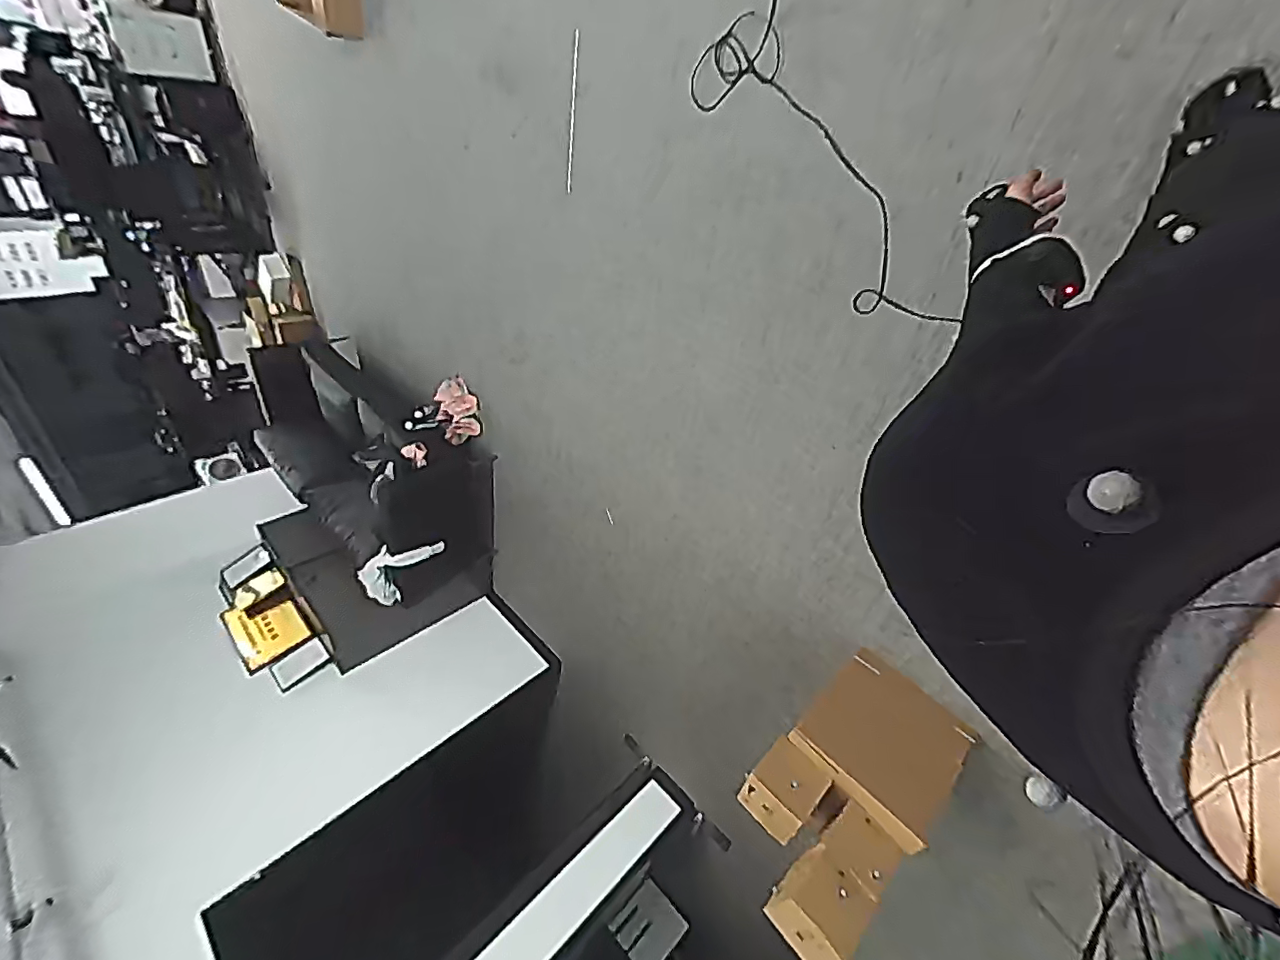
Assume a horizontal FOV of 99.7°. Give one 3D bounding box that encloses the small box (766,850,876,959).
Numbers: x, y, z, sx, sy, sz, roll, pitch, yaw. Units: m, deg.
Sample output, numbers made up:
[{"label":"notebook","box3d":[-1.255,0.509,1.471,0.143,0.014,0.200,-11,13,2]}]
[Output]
[{"label":"small box","box3d":[0.459,1.084,1.365,0.168,0.176,0.179,44,136,24]}]
